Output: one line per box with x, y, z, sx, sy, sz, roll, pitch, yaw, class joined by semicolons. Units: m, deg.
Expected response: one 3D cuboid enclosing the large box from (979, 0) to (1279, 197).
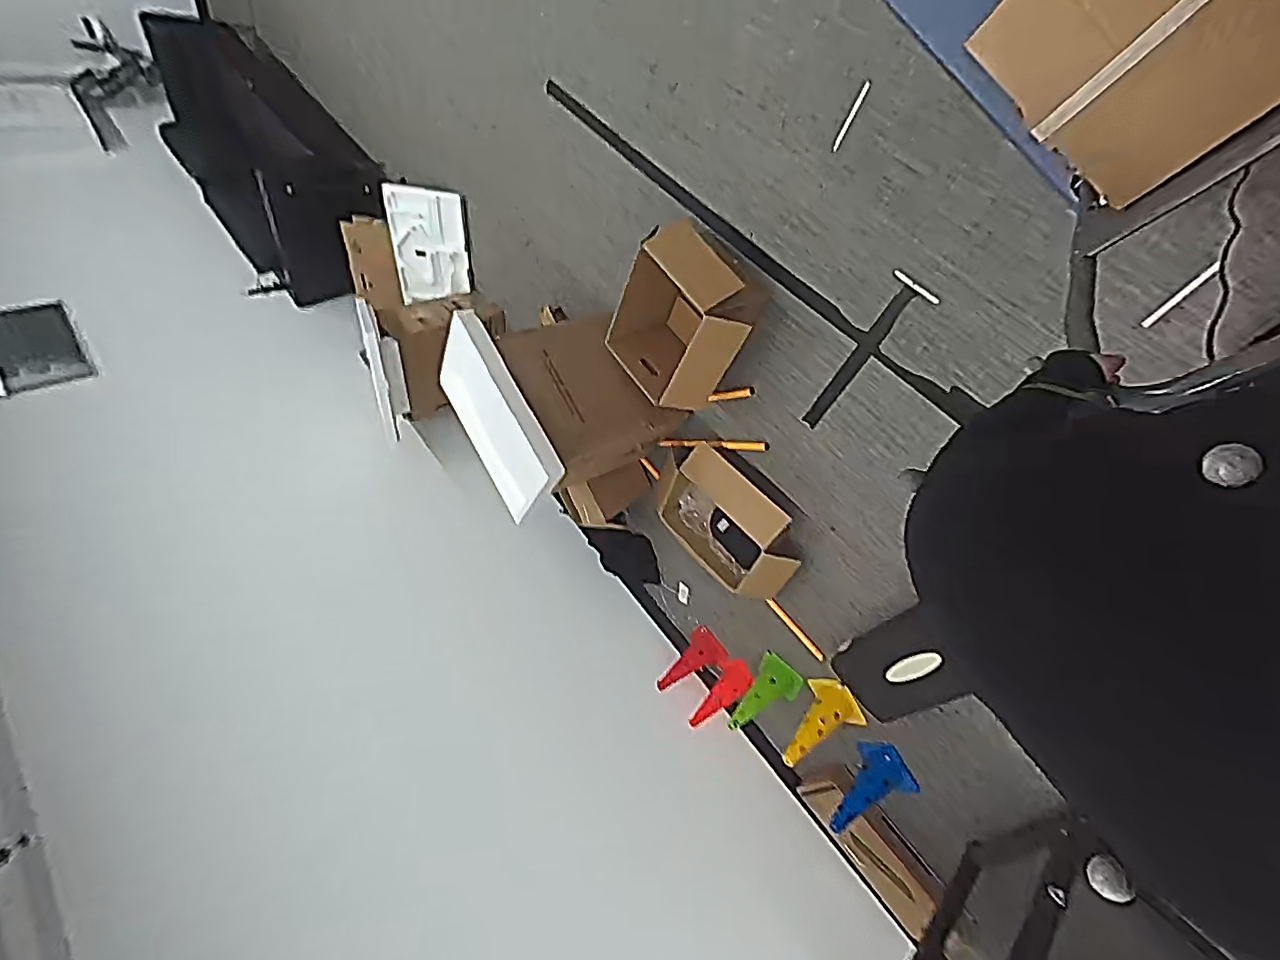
0.717;-0.650;0.648;0.320;0.320;0.408;42;145;-3;large box
